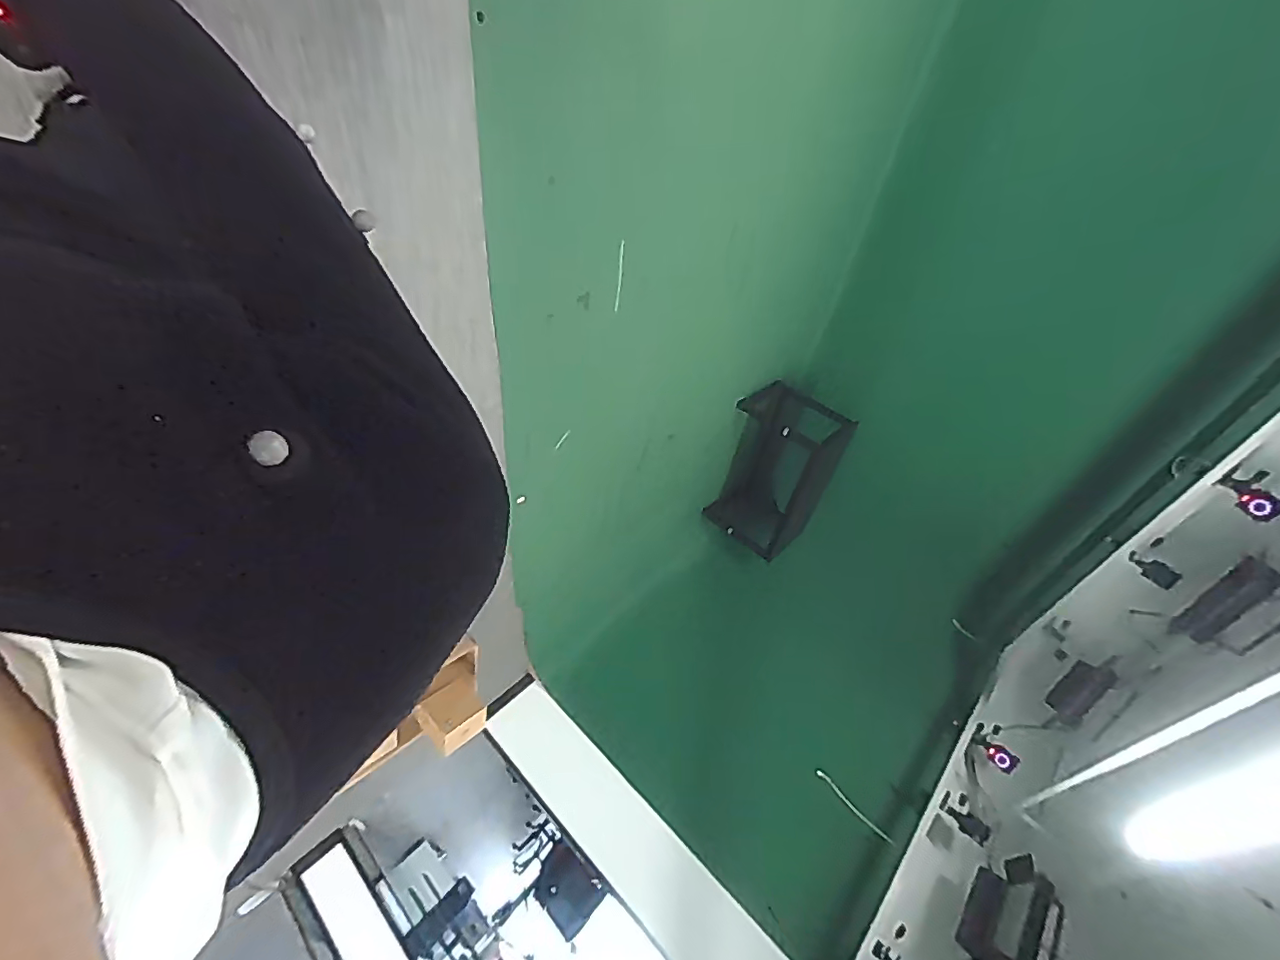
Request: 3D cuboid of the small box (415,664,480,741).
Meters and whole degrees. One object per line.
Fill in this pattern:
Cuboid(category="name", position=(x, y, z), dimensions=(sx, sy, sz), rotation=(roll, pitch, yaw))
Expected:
Cuboid(category="small box", position=(-0.731, 0.836, 2.049), dimensions=(0.179, 0.176, 0.168), rotation=(-25, 144, -40))
